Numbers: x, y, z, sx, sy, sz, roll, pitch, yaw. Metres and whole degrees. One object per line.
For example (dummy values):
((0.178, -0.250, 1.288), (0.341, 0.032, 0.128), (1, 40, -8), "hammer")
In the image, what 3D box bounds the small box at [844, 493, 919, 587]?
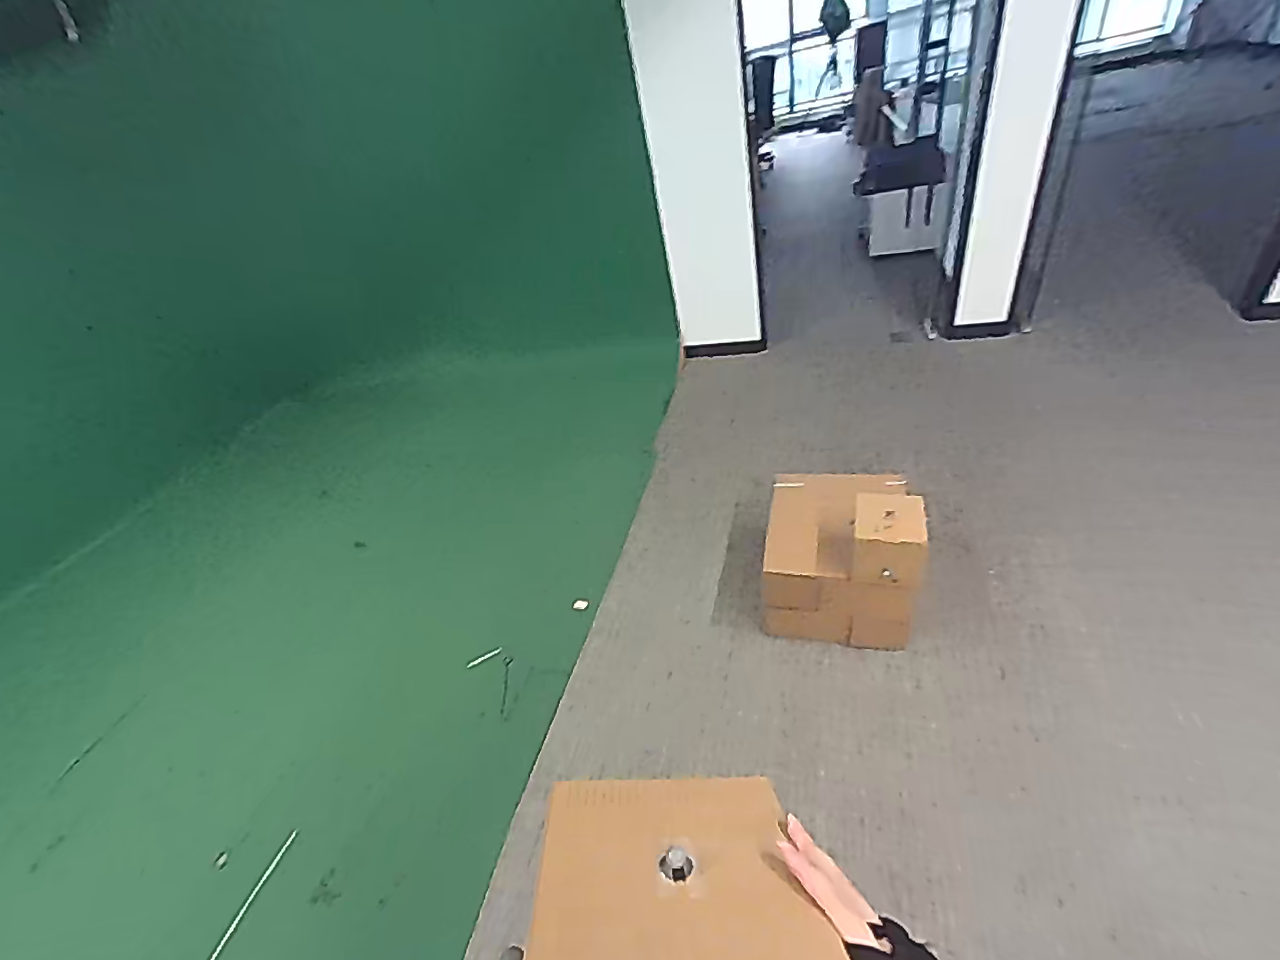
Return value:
((0.634, 0.157, 1.435), (0.168, 0.176, 0.179), (2, 40, 20), "small box")
